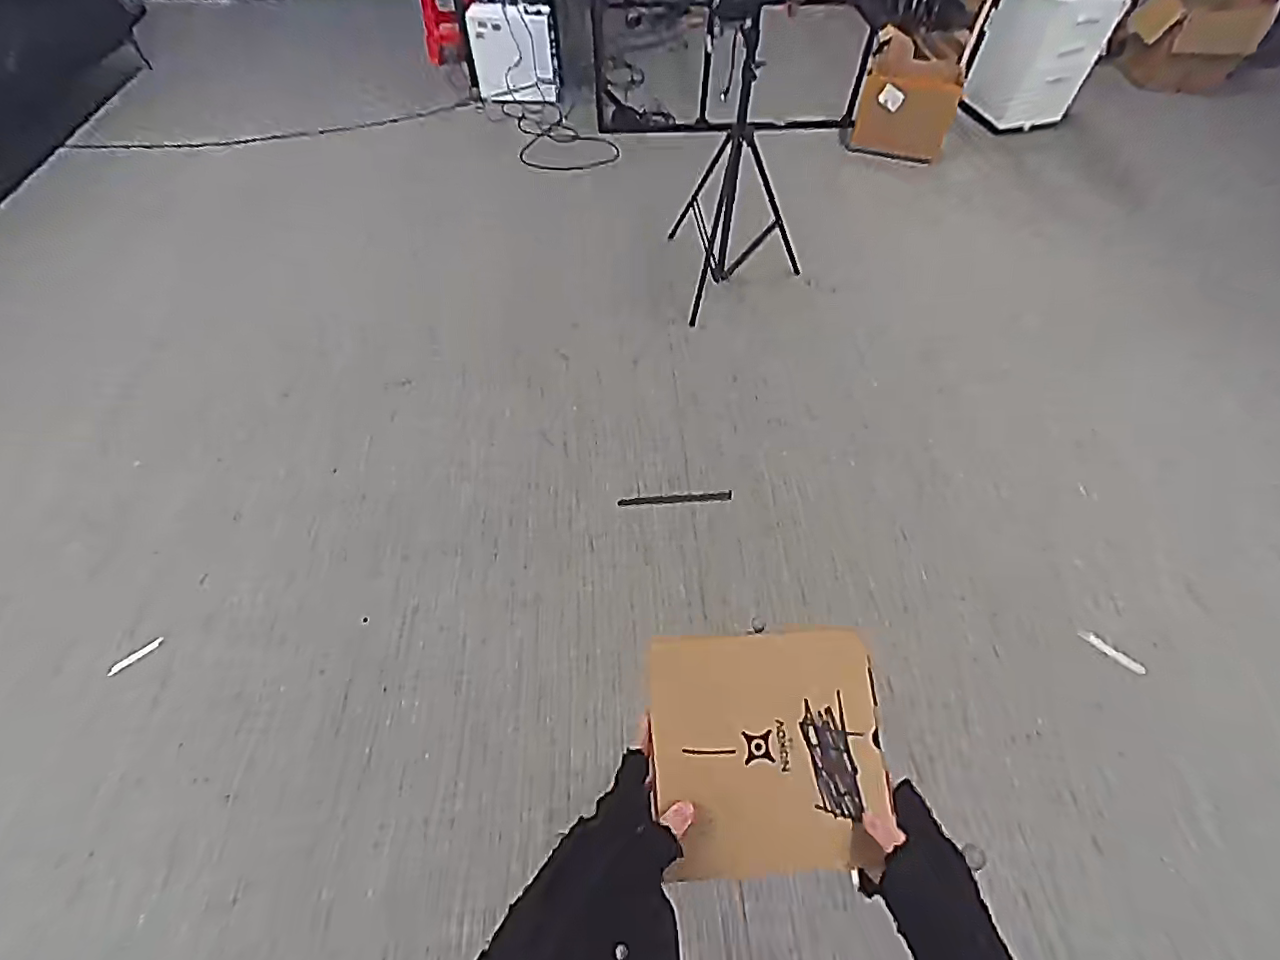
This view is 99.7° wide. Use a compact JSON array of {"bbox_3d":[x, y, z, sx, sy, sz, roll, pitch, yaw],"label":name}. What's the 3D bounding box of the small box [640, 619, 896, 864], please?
[{"bbox_3d":[0.093,0.213,0.483,0.179,0.176,0.168,-3,73,-2],"label":"small box"}]
